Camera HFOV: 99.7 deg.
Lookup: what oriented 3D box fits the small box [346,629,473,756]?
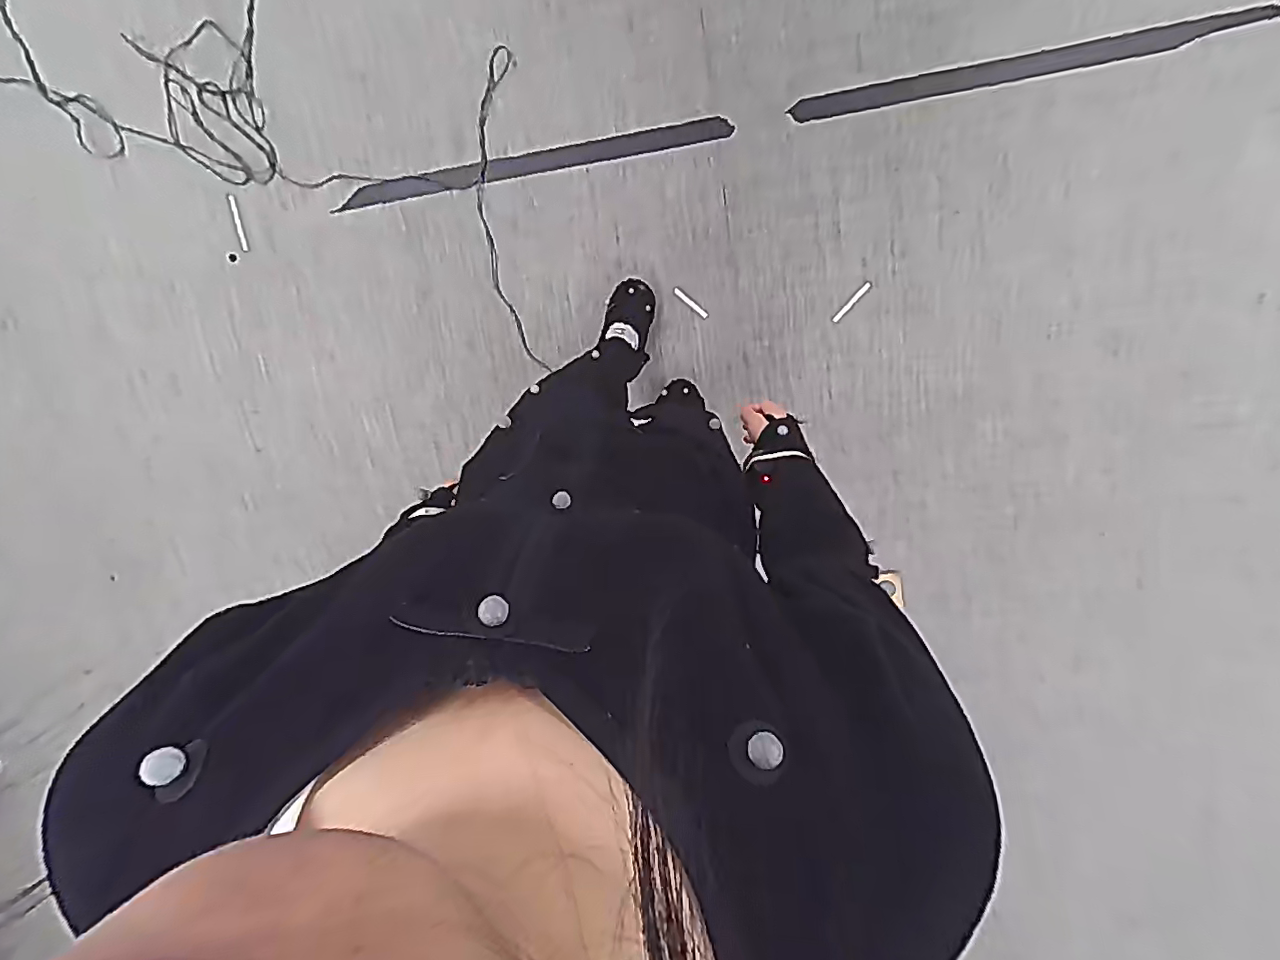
[{"bbox_3d":[-0.517,0.477,1.241,0.179,0.176,0.168,41,102,-3],"label":"small box"}]
